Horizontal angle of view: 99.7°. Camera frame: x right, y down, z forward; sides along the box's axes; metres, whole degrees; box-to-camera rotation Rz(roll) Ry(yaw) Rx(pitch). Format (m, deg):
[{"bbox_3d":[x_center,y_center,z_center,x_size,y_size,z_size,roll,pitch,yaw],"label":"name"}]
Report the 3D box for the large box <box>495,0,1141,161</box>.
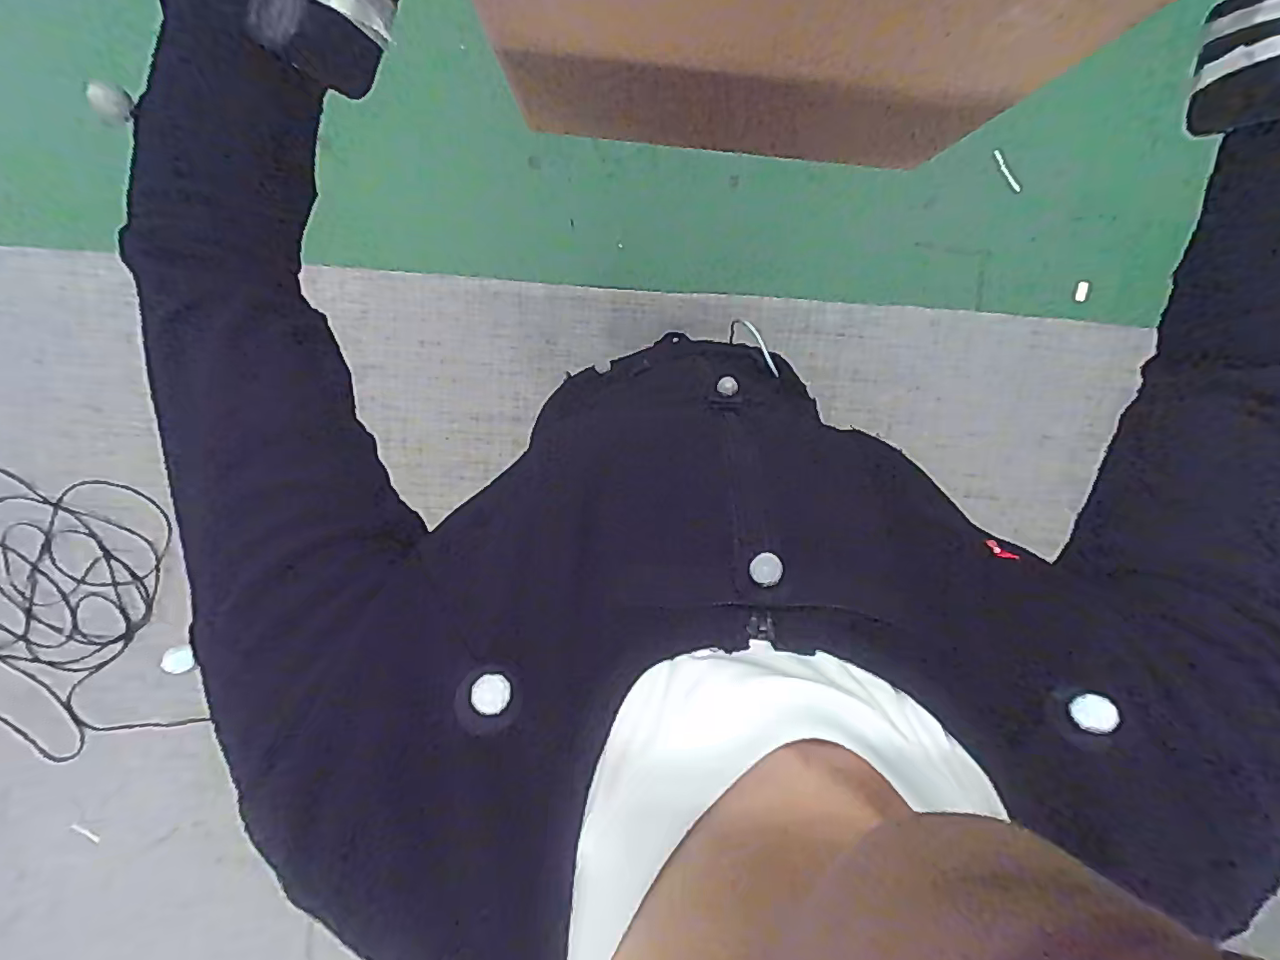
[{"bbox_3d":[0.105,-0.459,0.382,0.408,0.320,0.320,3,103,-4],"label":"large box"}]
